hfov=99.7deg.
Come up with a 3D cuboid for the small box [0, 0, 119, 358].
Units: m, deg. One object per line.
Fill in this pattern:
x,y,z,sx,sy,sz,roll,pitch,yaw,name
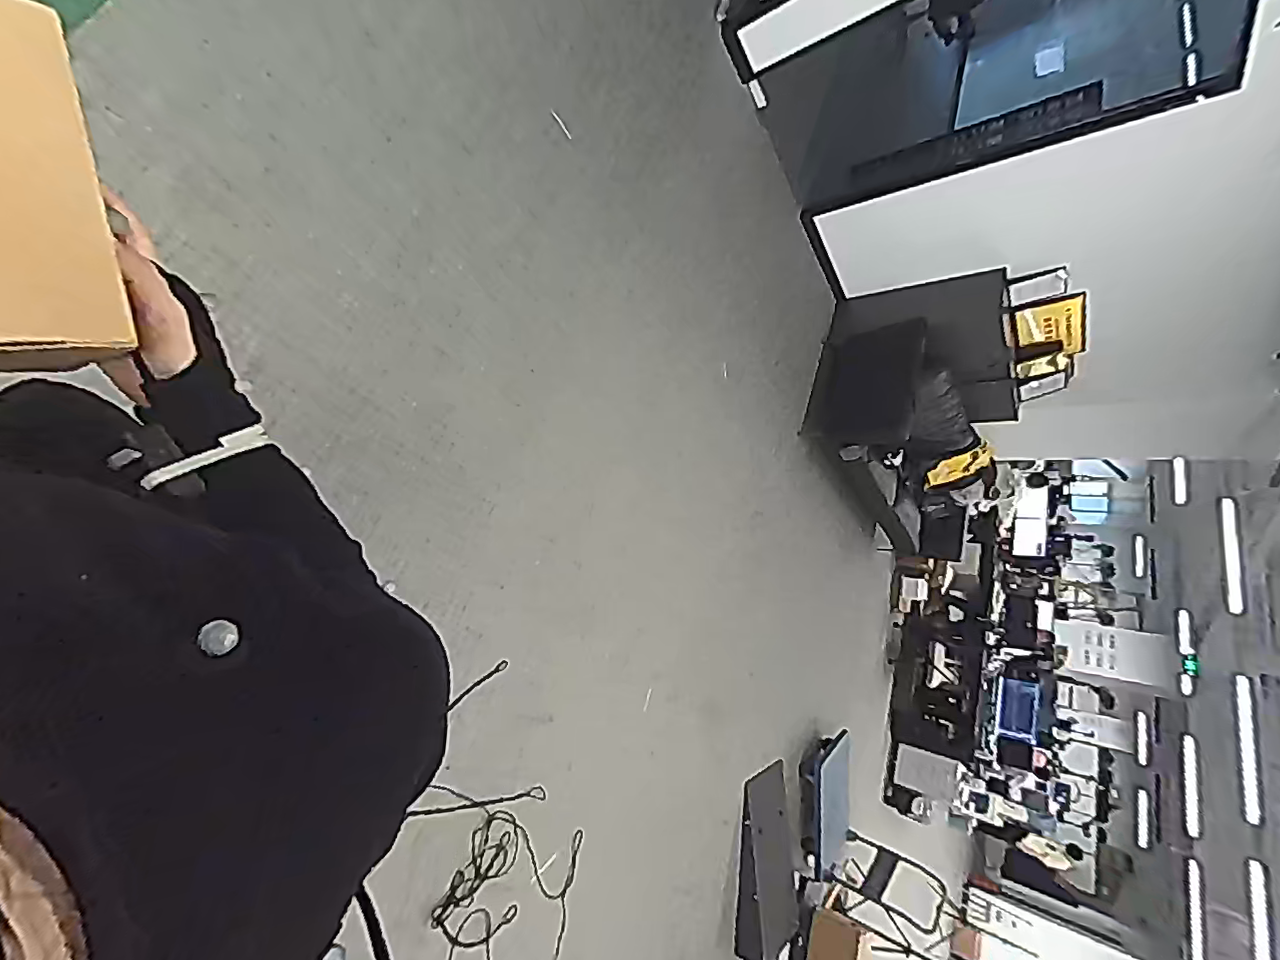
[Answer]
-0.413,-0.158,0.270,0.168,0.176,0.179,-19,109,-55,small box
